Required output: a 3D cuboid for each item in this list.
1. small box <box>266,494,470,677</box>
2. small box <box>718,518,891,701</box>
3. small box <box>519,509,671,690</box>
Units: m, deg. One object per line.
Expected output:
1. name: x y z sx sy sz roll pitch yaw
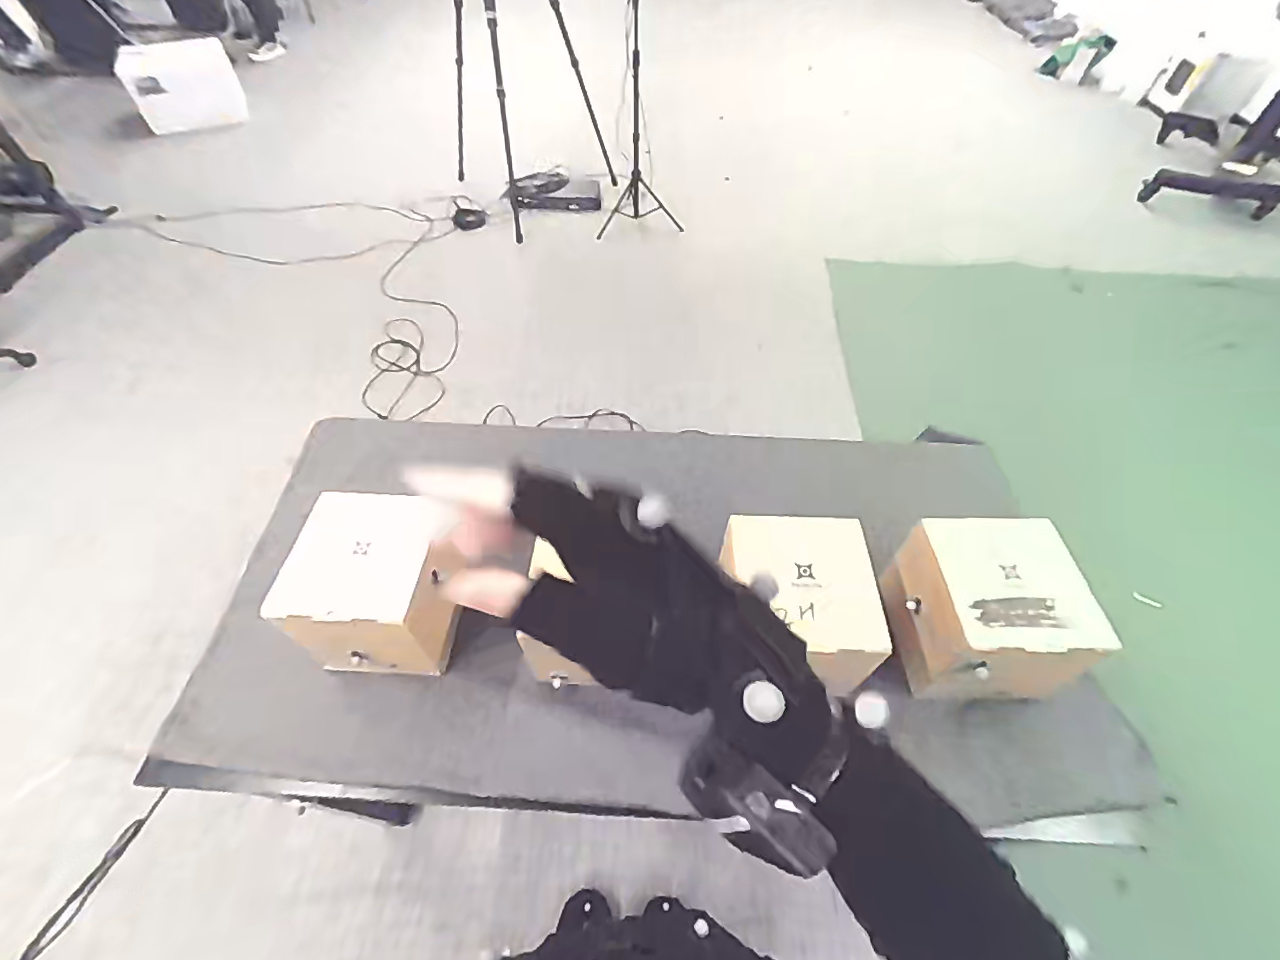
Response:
1. small box: -0.335 0.141 0.714 0.168 0.176 0.179 3 51 0
2. small box: 0.194 0.169 0.700 0.168 0.176 0.179 1 52 2
3. small box: -0.048 0.159 0.704 0.168 0.176 0.179 4 51 2
